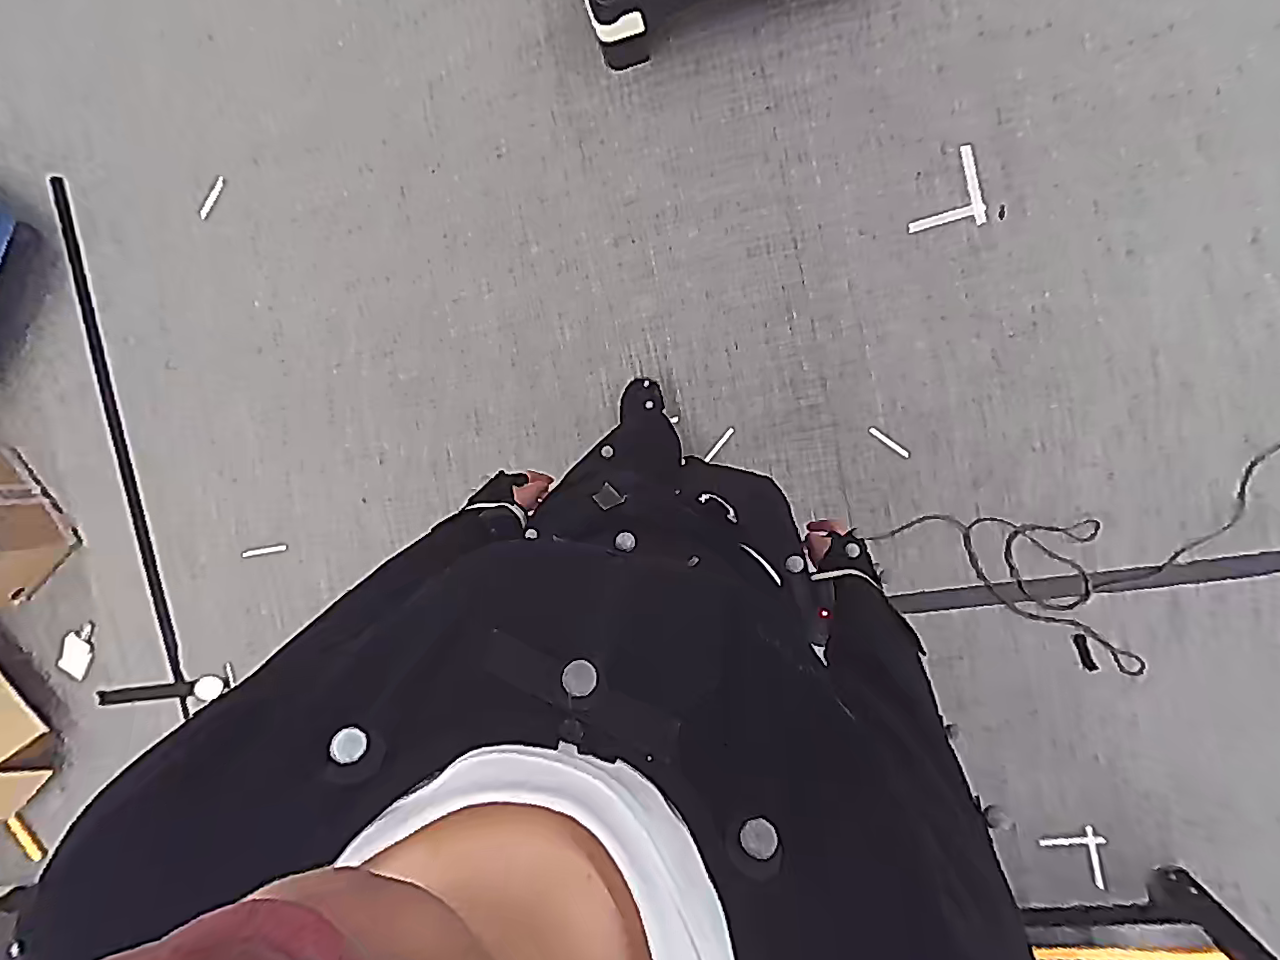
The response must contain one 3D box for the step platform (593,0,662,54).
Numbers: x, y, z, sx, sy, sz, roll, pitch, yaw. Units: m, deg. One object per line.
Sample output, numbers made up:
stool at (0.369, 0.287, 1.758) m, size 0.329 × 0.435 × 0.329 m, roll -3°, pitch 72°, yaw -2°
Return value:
step platform at (0.206, -1.196, 1.134) m, size 0.684 × 0.204 × 0.286 m, roll -11°, pitch 92°, yaw 12°
